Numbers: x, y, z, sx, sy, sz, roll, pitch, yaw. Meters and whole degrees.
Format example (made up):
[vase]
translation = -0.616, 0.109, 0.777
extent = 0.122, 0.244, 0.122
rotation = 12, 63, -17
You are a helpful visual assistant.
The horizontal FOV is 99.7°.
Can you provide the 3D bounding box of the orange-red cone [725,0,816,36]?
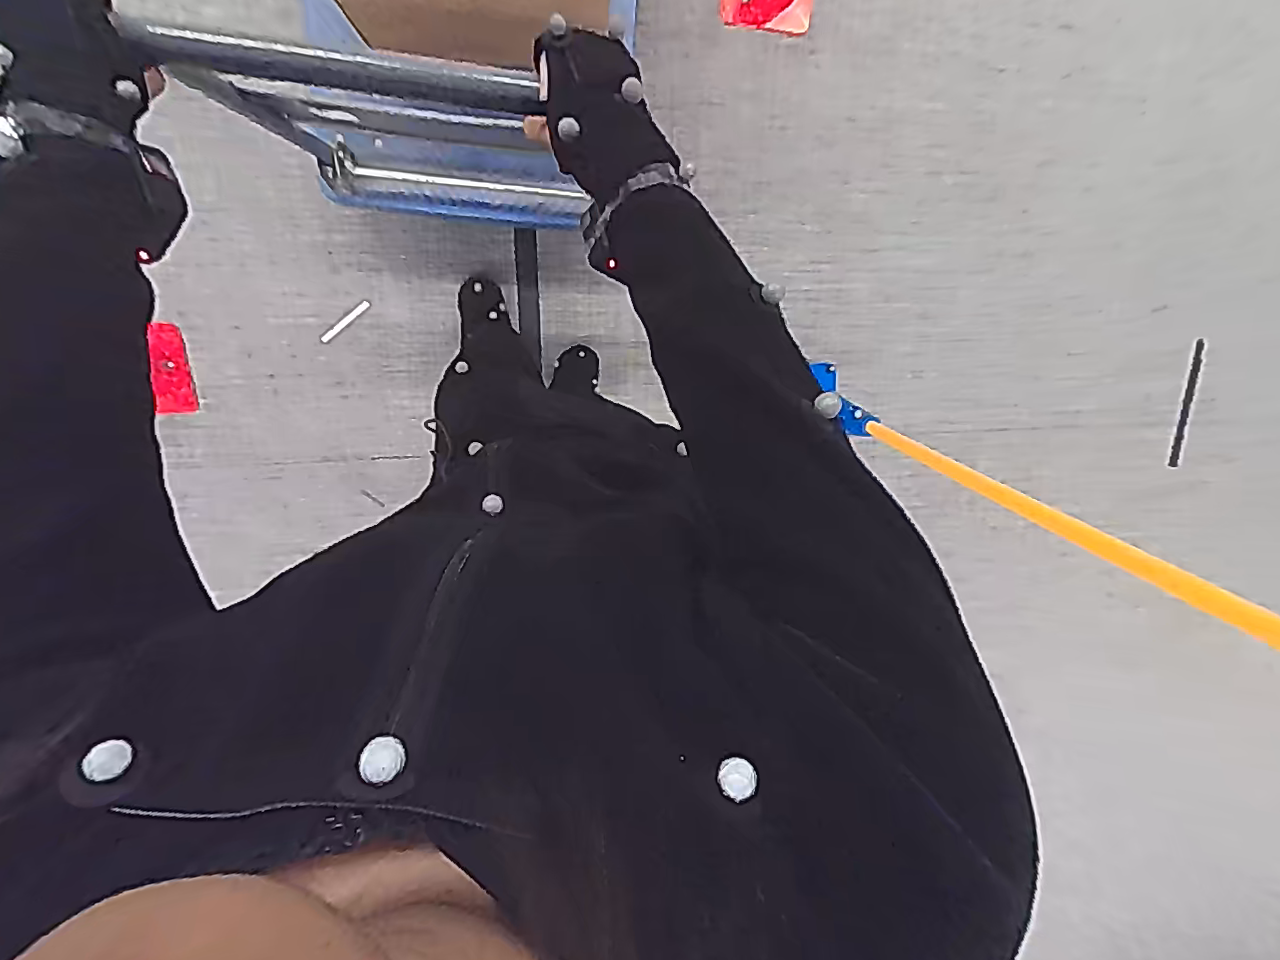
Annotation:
[orange-red cone]
translation = 0.309, -1.027, 0.985
extent = 0.199, 0.360, 0.198
rotation = 4, 105, -9
